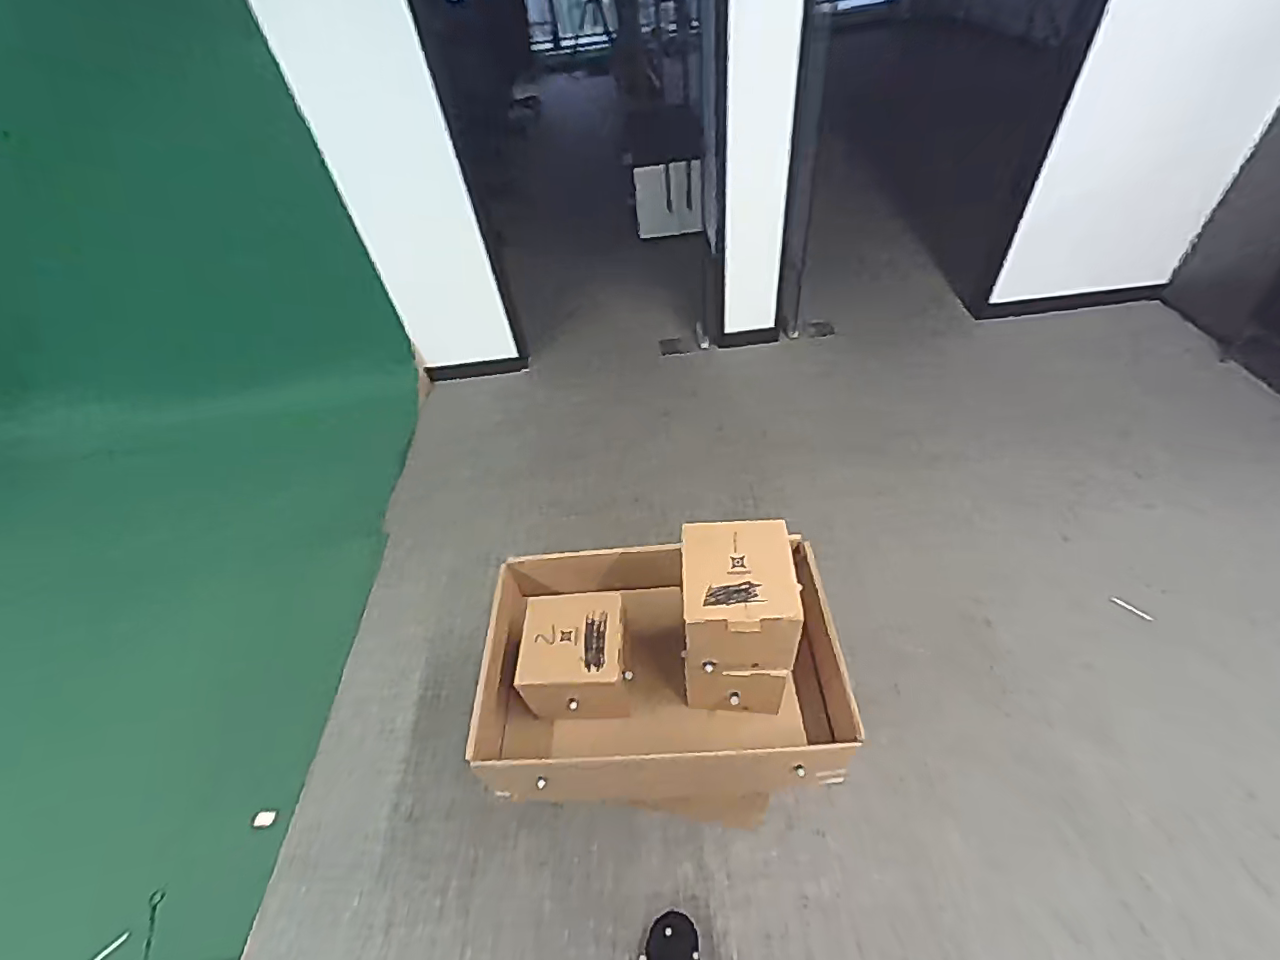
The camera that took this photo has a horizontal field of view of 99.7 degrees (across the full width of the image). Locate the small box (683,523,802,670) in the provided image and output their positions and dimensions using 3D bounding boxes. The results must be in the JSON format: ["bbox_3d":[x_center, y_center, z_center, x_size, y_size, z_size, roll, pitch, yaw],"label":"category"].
[{"bbox_3d":[0.155,0.190,0.862,0.168,0.176,0.179,-2,46,5],"label":"small box"}]
